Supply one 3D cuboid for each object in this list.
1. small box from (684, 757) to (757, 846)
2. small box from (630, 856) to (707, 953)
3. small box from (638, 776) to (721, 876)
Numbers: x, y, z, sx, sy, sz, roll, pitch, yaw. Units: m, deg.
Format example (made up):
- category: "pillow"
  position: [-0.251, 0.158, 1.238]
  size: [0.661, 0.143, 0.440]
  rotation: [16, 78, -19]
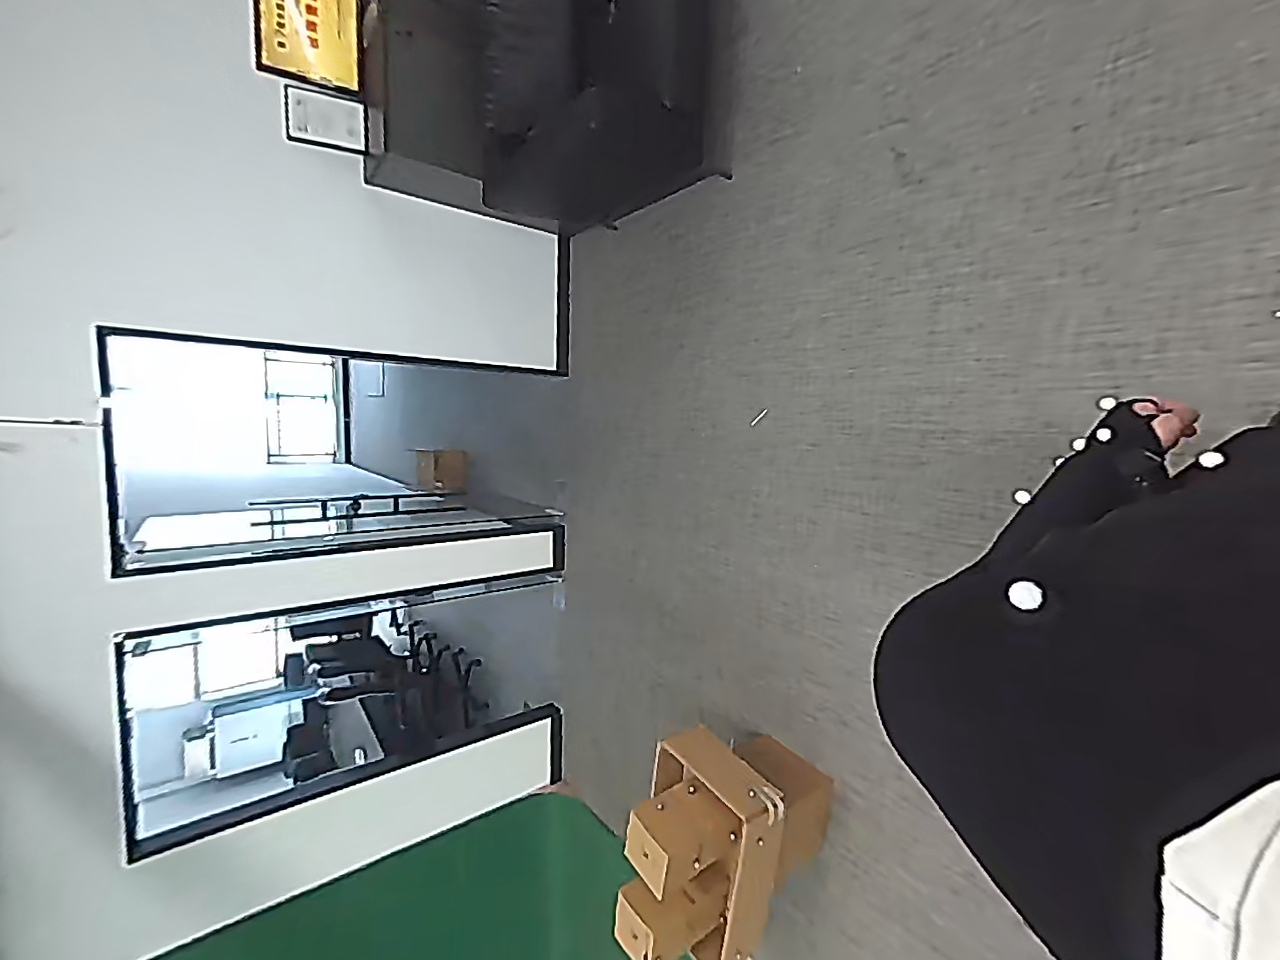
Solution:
- category: "small box"
  position: [0.251, 1.037, 1.760]
  size: [0.179, 0.176, 0.168]
  rotation: [28, 115, 49]
- category: "small box"
  position: [0.089, 1.332, 1.729]
  size: [0.179, 0.176, 0.168]
  rotation: [17, 107, 52]
- category: "small box"
  position: [0.121, 1.050, 1.663]
  size: [0.179, 0.176, 0.168]
  rotation: [26, 114, 49]
